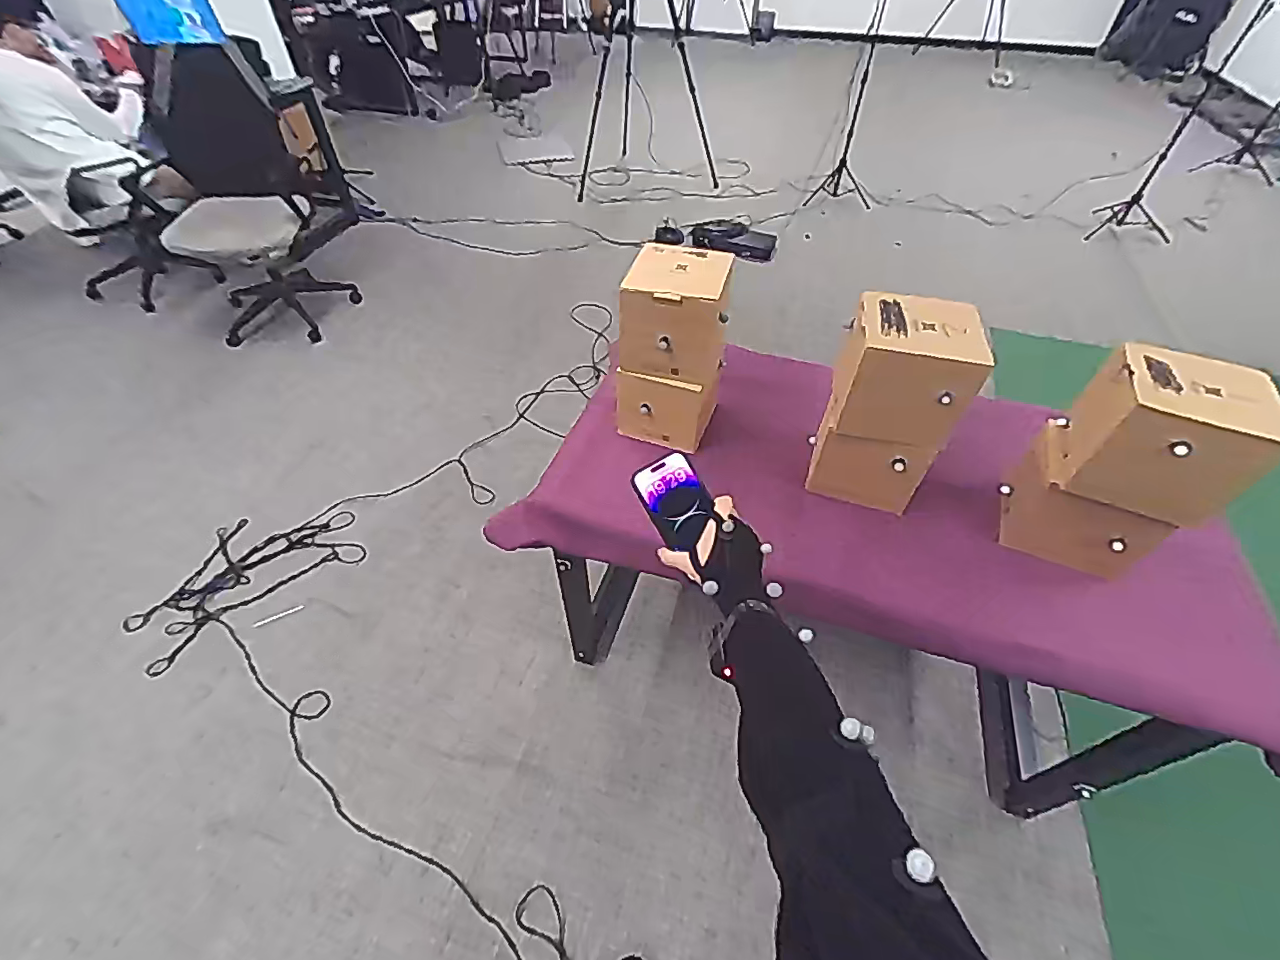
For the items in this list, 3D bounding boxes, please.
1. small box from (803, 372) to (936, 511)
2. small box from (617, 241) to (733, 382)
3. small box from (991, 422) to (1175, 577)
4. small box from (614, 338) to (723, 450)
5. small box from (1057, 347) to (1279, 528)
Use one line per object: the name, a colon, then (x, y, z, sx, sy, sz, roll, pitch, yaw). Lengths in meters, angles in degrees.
small box: (0.416, -0.066, 0.992, 0.179, 0.176, 0.168, 16, 50, 14)
small box: (0.064, -0.302, 0.978, 0.168, 0.176, 0.179, 13, 50, 10)
small box: (0.729, 0.037, 0.905, 0.179, 0.176, 0.168, 21, 51, 18)
small box: (0.059, -0.187, 1.095, 0.168, 0.176, 0.179, 17, 50, 14)
small box: (0.734, -0.058, 0.772, 0.179, 0.176, 0.168, 21, 51, 17)
